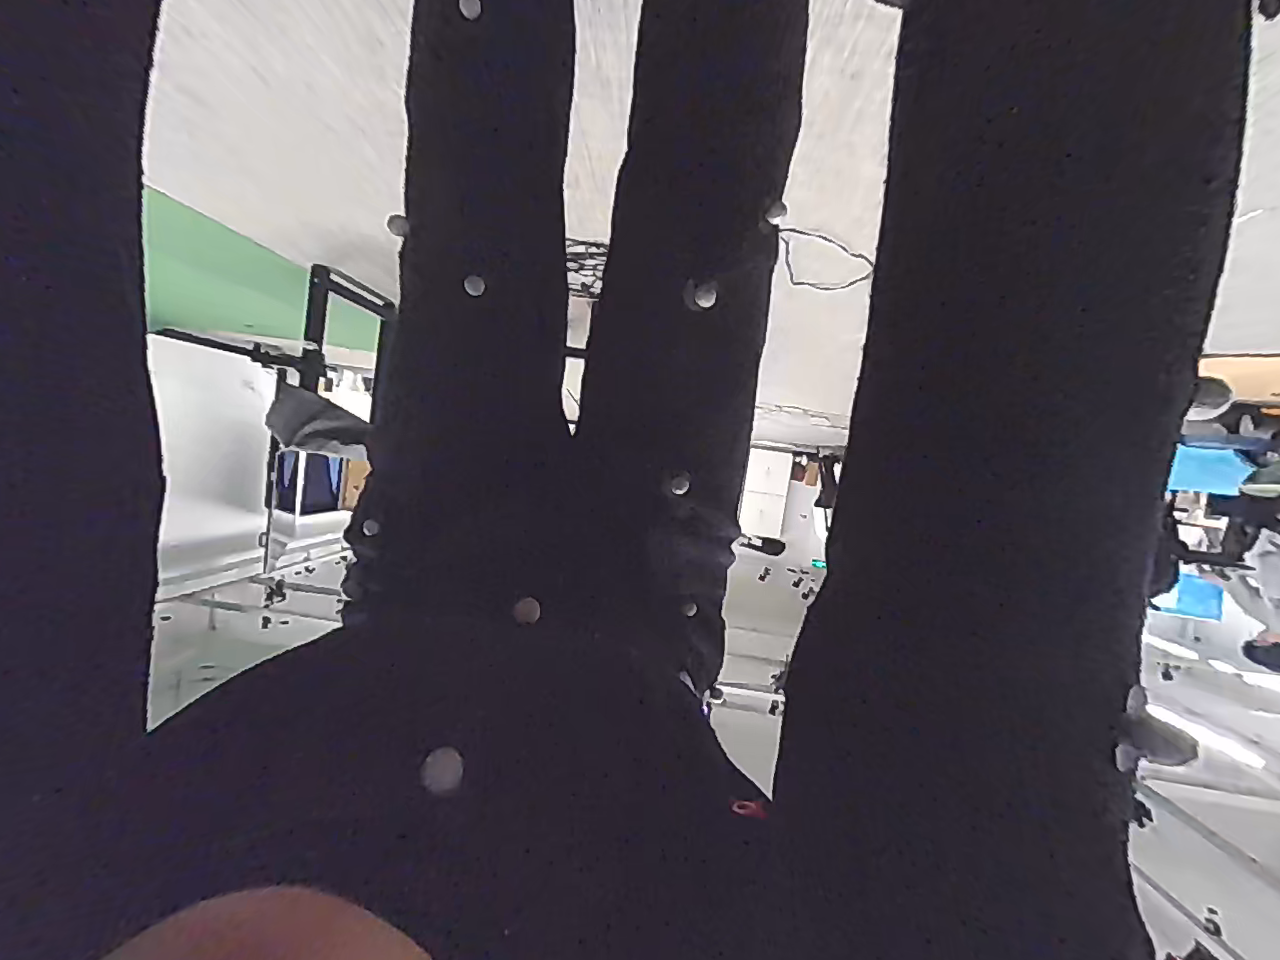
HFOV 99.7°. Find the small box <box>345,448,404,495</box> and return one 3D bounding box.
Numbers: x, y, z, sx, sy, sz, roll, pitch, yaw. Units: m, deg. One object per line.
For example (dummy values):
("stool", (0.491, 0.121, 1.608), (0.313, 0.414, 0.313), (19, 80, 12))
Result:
("small box", (-1.115, -0.037, 2.281), (0.179, 0.176, 0.168), (9, -177, 0))
